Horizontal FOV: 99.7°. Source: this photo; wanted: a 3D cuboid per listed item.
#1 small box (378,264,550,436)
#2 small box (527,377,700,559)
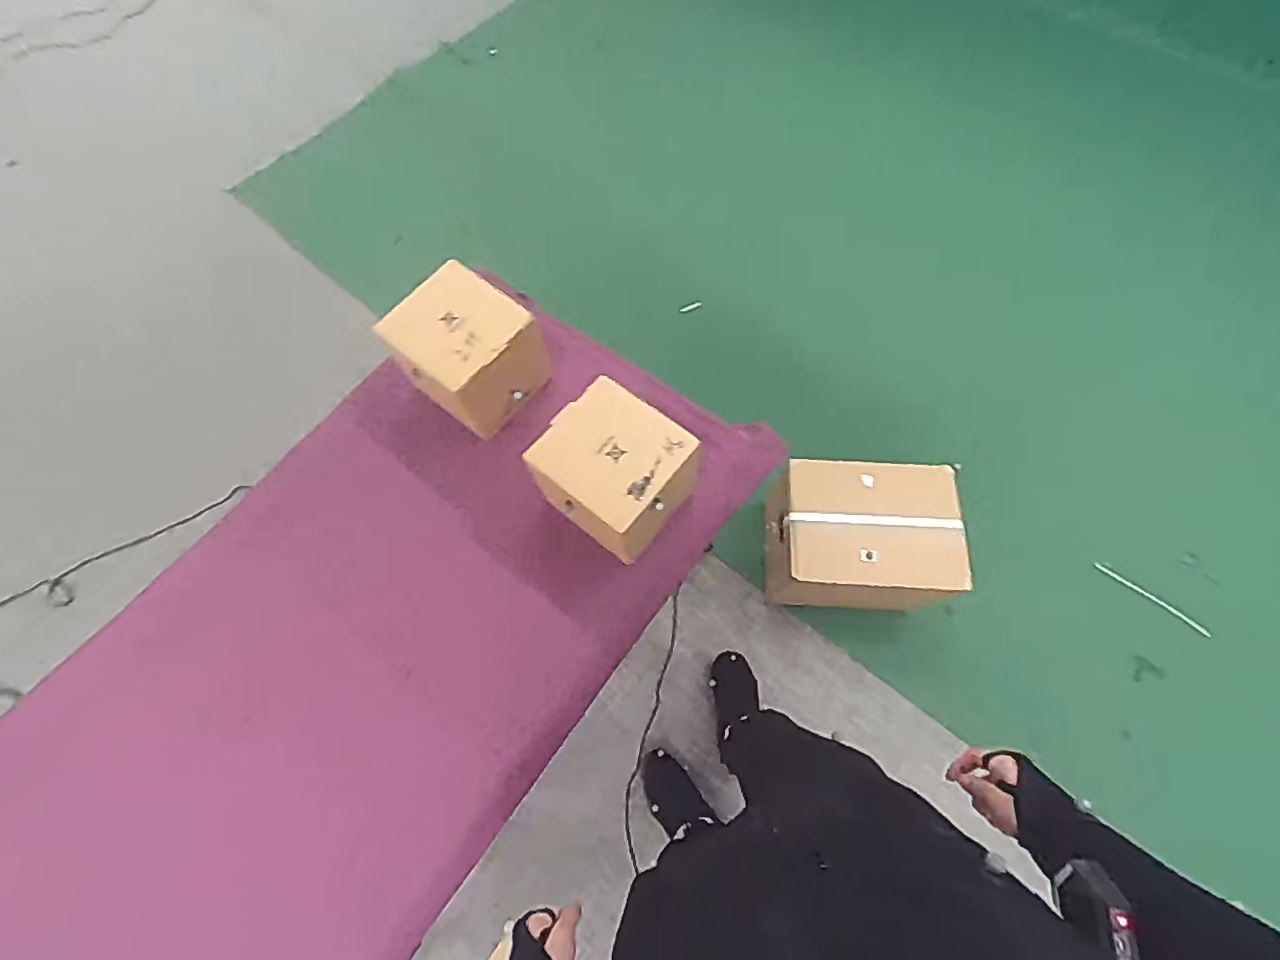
[{"bbox_3d":[-0.269,-0.199,0.868,0.179,0.176,0.168,37,75,13],"label":"small box"},{"bbox_3d":[-0.031,-0.009,0.788,0.179,0.176,0.168,36,74,17],"label":"small box"}]
